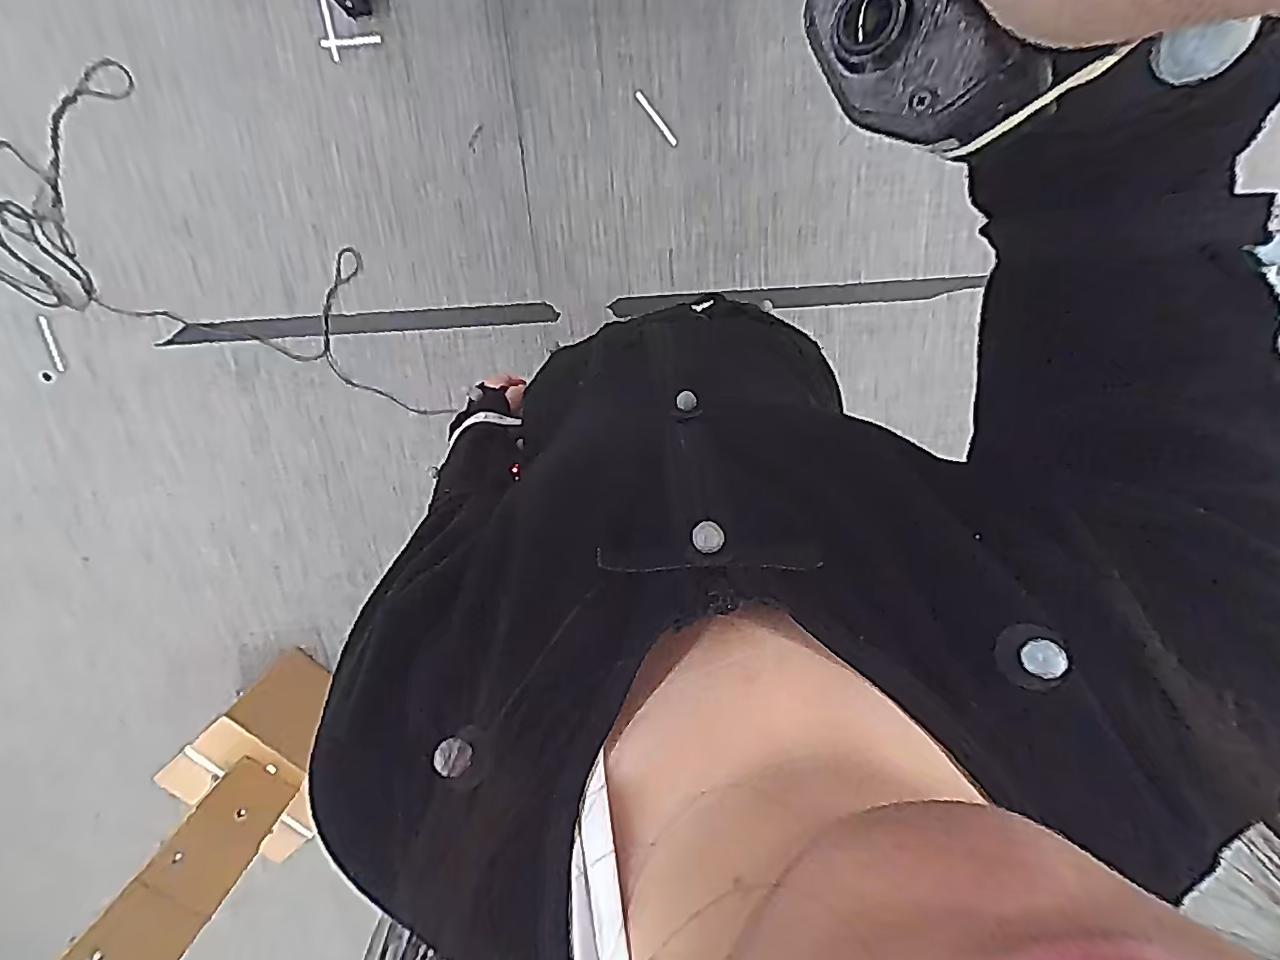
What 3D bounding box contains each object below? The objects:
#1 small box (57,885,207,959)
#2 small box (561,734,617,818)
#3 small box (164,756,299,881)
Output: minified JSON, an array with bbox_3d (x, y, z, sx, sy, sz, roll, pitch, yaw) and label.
[{"bbox_3d":[-1.008,0.933,1.042,0.168,0.176,0.179,-43,102,11],"label":"small box"},{"bbox_3d":[-0.158,0.921,1.699,0.168,0.176,0.179,-1,107,-3],"label":"small box"},{"bbox_3d":[-1.013,0.842,1.359,0.168,0.176,0.179,-44,101,10],"label":"small box"}]
